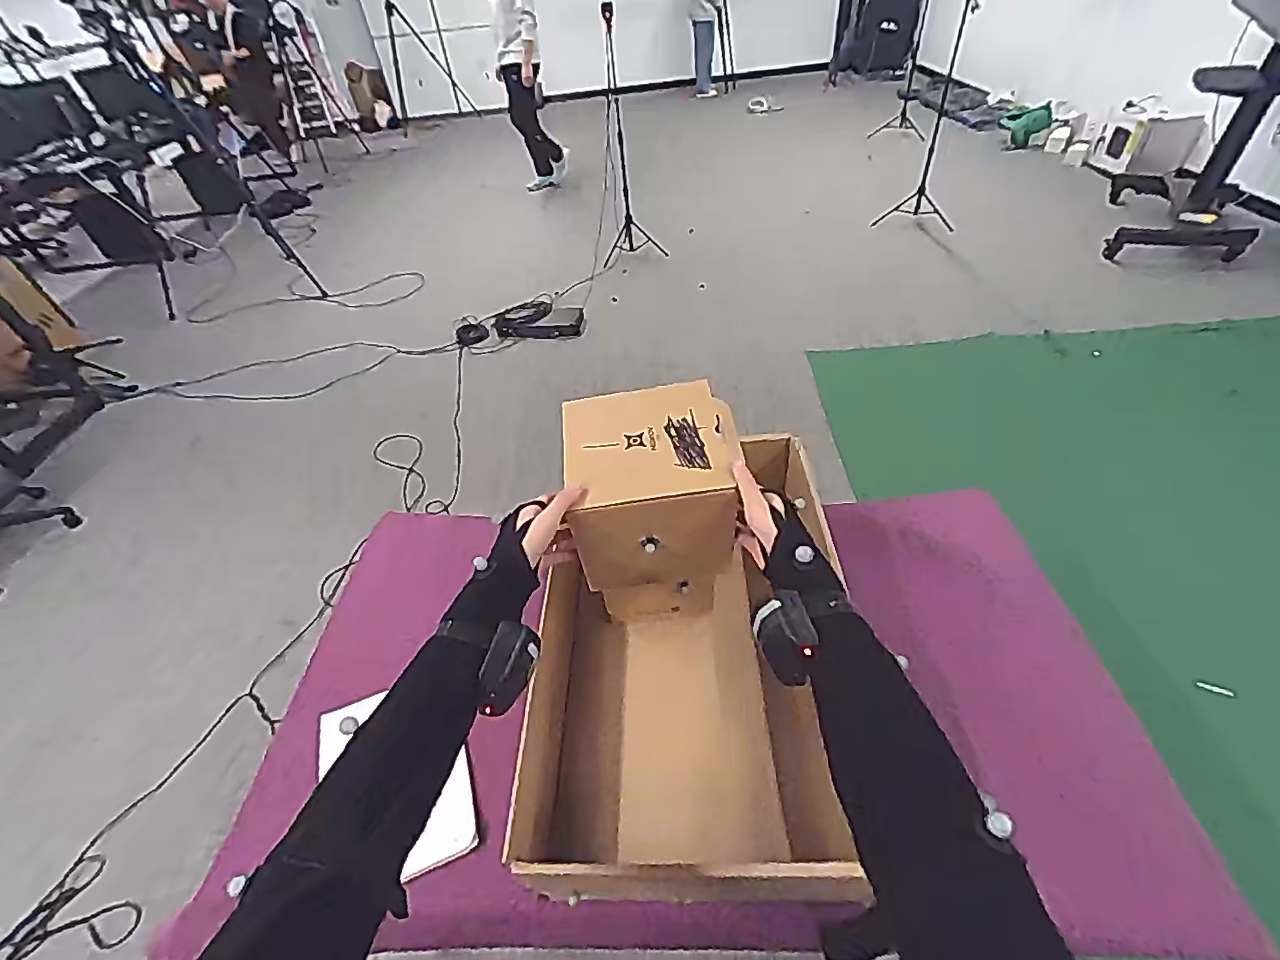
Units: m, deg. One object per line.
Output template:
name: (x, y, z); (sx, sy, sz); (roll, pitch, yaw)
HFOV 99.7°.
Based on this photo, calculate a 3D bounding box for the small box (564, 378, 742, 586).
small box: (0.012, 0.007, 0.636); (0.179, 0.176, 0.168); (-8, 50, 0)
